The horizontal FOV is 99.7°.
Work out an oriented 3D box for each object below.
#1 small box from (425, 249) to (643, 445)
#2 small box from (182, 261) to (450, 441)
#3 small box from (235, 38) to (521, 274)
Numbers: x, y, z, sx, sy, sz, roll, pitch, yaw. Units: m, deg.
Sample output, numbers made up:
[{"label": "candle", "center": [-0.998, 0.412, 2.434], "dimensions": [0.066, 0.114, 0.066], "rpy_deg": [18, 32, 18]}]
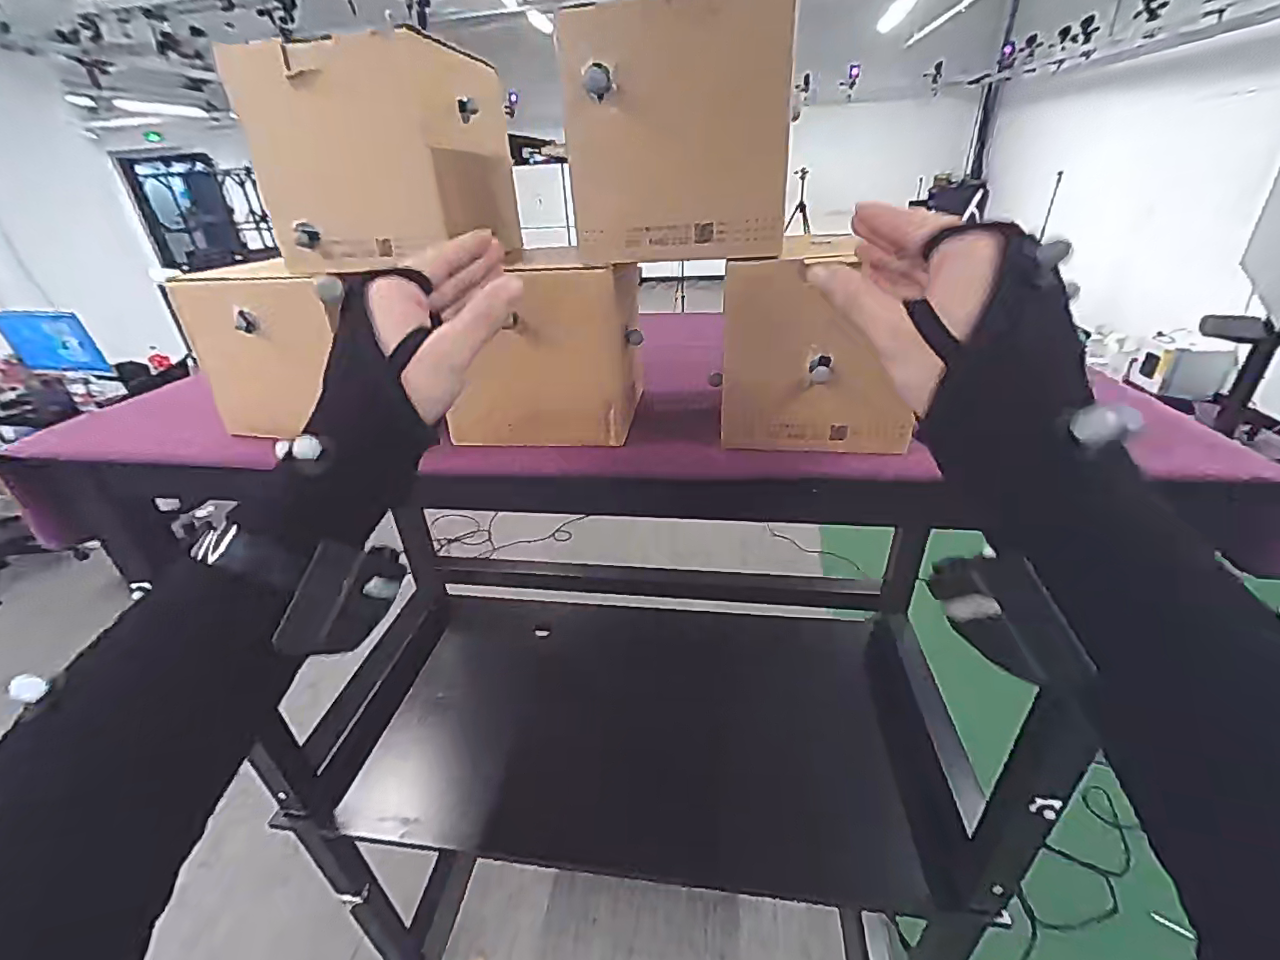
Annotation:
[{"label": "small box", "center": [-0.093, -0.143, 0.575], "dimensions": [0.179, 0.176, 0.168], "rpy_deg": [1, 29, 7]}, {"label": "small box", "center": [-0.347, -0.152, 0.615], "dimensions": [0.179, 0.176, 0.168], "rpy_deg": [5, 29, 12]}, {"label": "small box", "center": [-0.228, -0.298, 0.528], "dimensions": [0.168, 0.176, 0.179], "rpy_deg": [2, 28, 9]}]
